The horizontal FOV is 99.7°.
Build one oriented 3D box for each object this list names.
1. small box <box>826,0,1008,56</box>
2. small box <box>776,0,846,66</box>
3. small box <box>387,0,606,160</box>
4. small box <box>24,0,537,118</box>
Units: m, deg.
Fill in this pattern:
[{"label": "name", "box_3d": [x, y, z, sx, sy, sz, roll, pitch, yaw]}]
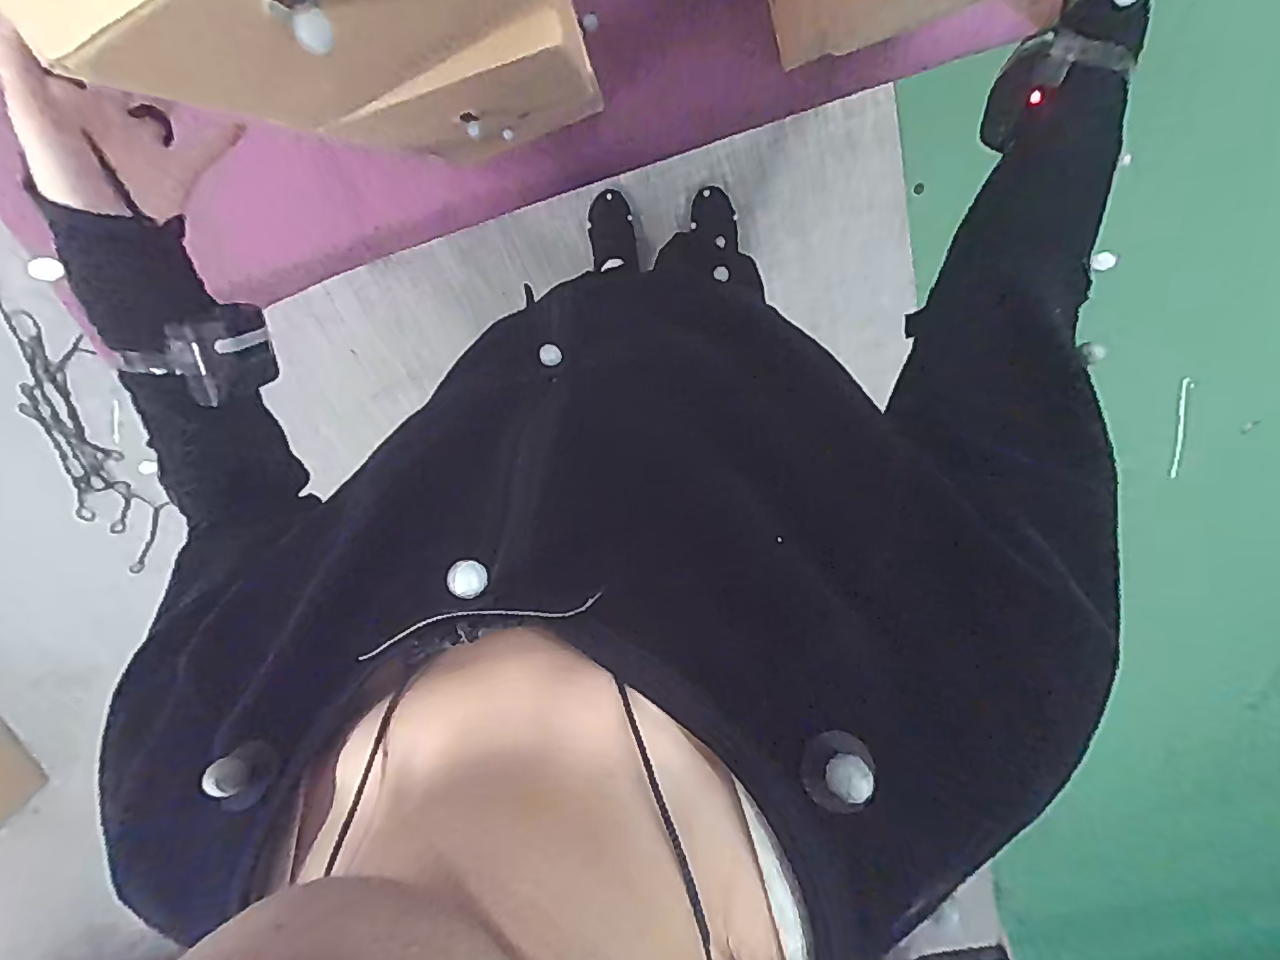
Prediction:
[{"label": "small box", "box_3d": [0.206, -0.399, 0.319, 0.168, 0.176, 0.179, -15, 115, 9]}, {"label": "small box", "box_3d": [0.206, -0.490, 0.457, 0.179, 0.176, 0.168, -17, 116, 10]}, {"label": "small box", "box_3d": [-0.143, -0.419, 0.505, 0.179, 0.176, 0.168, -15, 115, 9]}, {"label": "small box", "box_3d": [-0.147, -0.274, 0.213, 0.179, 0.176, 0.168, -19, 115, 12]}]
